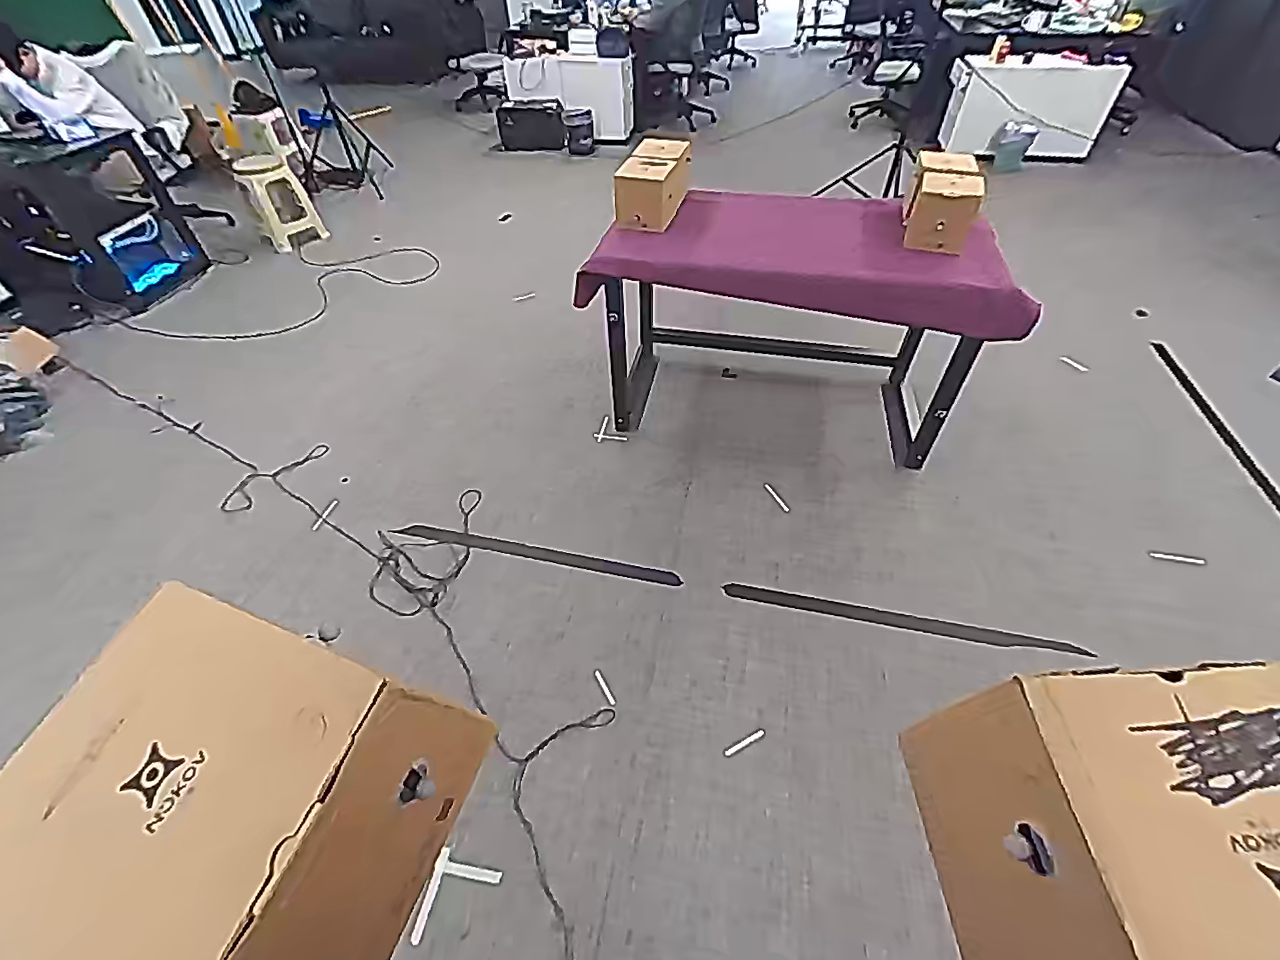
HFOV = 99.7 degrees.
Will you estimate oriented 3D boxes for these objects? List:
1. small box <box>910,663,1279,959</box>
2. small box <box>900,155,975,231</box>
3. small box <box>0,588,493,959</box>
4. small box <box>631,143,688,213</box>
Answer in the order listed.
[{"bbox_3d":[0.285,0.218,0.307,0.168,0.176,0.179,-3,56,-1],"label":"small box"},{"bbox_3d":[0.965,-0.940,1.772,0.168,0.176,0.179,12,48,11],"label":"small box"},{"bbox_3d":[-0.222,0.194,0.338,0.179,0.176,0.168,14,60,18],"label":"small box"},{"bbox_3d":[0.069,-1.075,1.922,0.168,0.176,0.179,11,49,12],"label":"small box"}]
